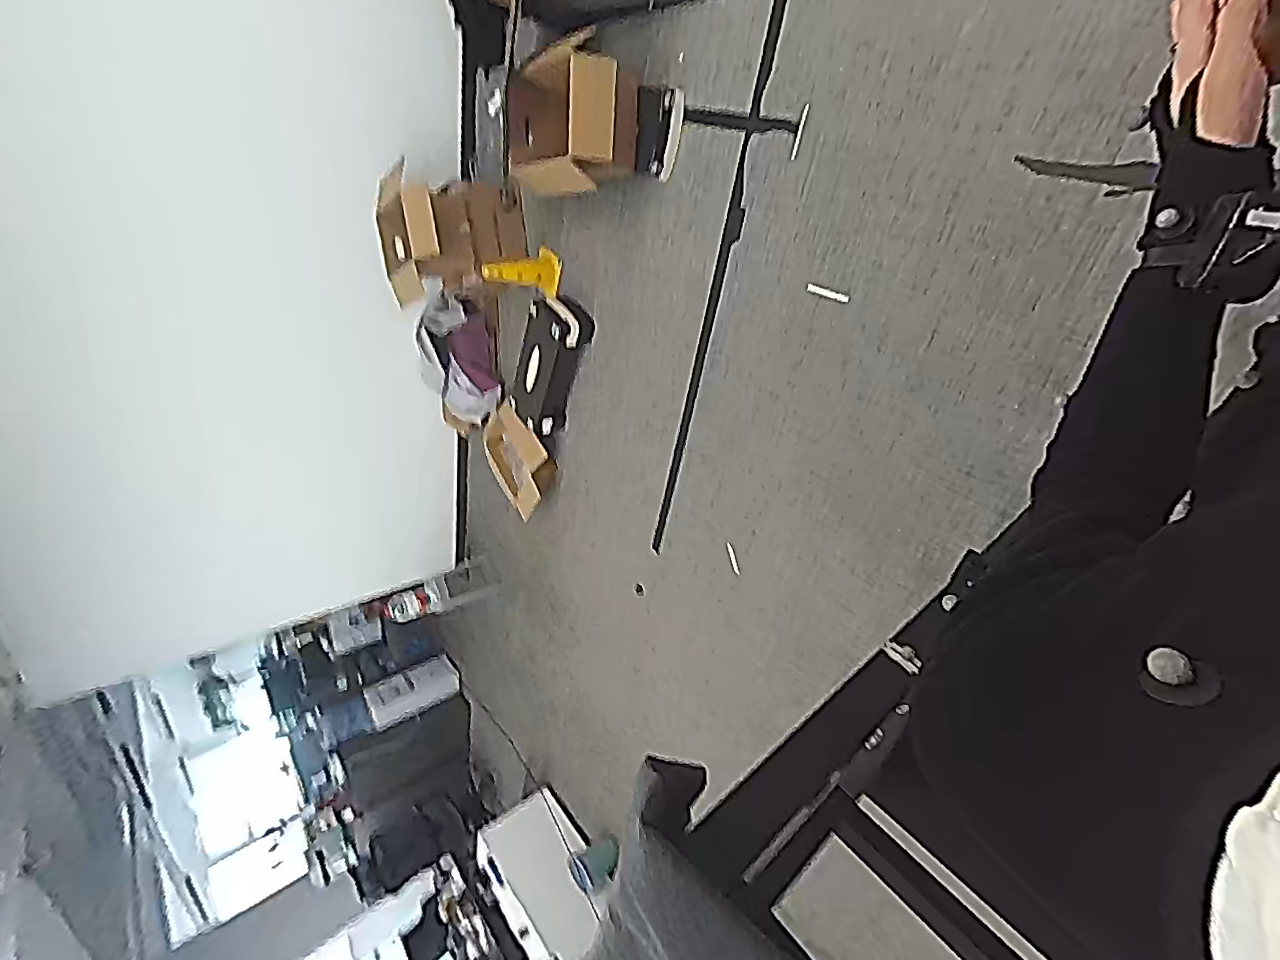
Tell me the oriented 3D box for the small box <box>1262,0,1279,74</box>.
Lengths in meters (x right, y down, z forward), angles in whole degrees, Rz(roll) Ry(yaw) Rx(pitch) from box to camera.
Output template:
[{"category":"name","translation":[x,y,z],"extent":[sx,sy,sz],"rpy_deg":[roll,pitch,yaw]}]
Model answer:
[{"category":"small box","translation":[0.443,-0.362,0.269],"extent":[0.168,0.176,0.179],"rpy_deg":[2,82,46]}]
